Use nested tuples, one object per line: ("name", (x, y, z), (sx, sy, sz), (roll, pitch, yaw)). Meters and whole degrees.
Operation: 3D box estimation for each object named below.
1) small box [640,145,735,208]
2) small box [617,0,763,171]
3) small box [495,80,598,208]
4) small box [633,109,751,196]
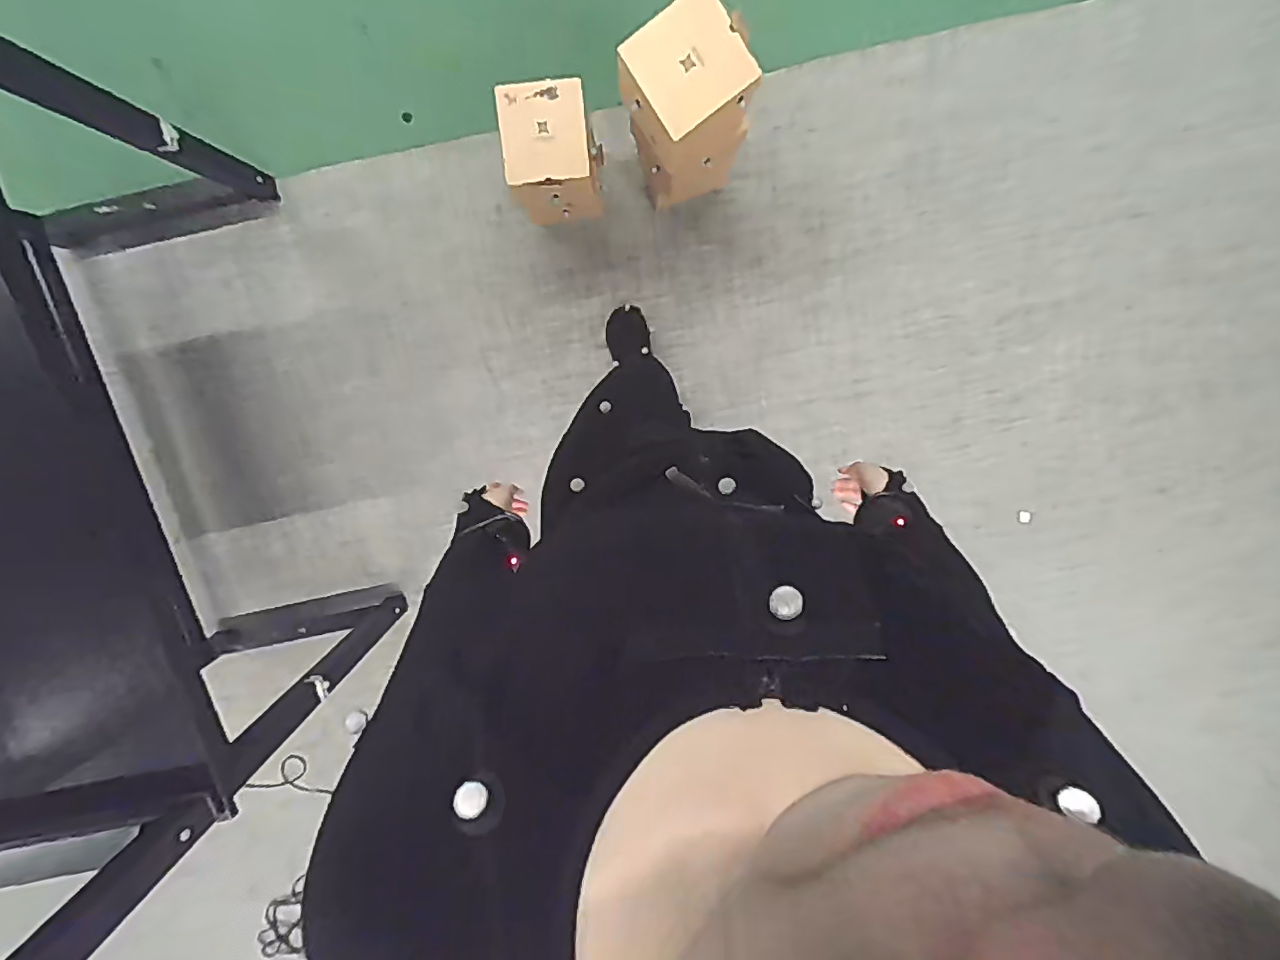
("small box", (0.101, -0.753, 1.242), (0.179, 0.176, 0.168), (-18, 102, 3))
("small box", (0.080, -0.674, 0.926), (0.179, 0.176, 0.168), (-35, 101, 6))
("small box", (-0.180, -0.665, 1.092), (0.168, 0.176, 0.179), (-5, 102, 2))
("small box", (0.095, -0.707, 1.086), (0.179, 0.176, 0.168), (-31, 102, 5))
